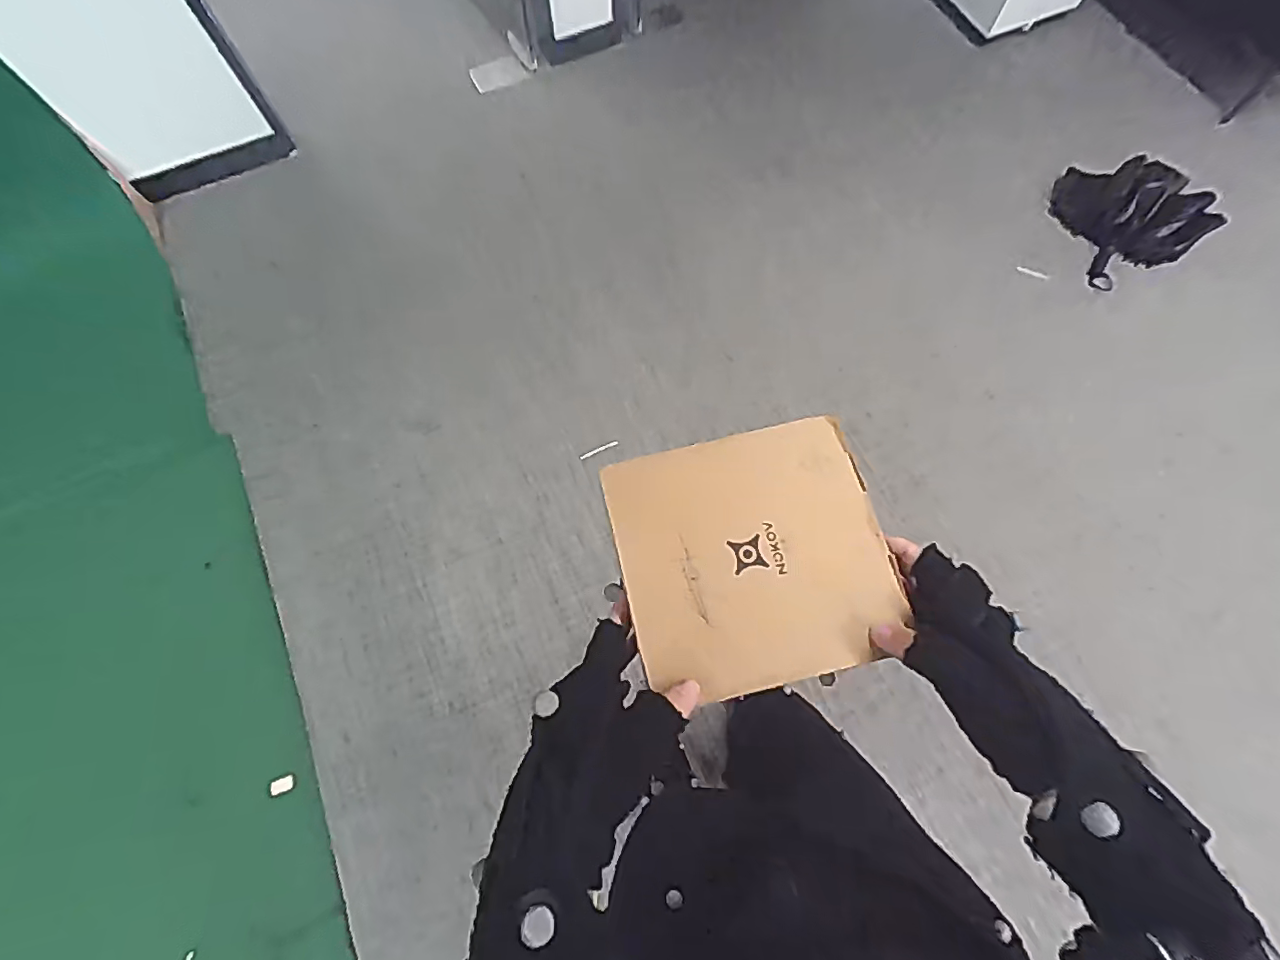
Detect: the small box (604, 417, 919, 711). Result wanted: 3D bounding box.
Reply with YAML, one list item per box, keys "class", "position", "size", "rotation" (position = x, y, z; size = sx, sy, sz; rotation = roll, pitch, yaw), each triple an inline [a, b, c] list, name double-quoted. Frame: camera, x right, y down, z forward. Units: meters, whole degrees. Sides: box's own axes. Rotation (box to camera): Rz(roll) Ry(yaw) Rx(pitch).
- class: "small box"
  position: [0.077, 0.073, 0.437]
  size: [0.179, 0.176, 0.168]
  rotation: [-15, 71, -3]
